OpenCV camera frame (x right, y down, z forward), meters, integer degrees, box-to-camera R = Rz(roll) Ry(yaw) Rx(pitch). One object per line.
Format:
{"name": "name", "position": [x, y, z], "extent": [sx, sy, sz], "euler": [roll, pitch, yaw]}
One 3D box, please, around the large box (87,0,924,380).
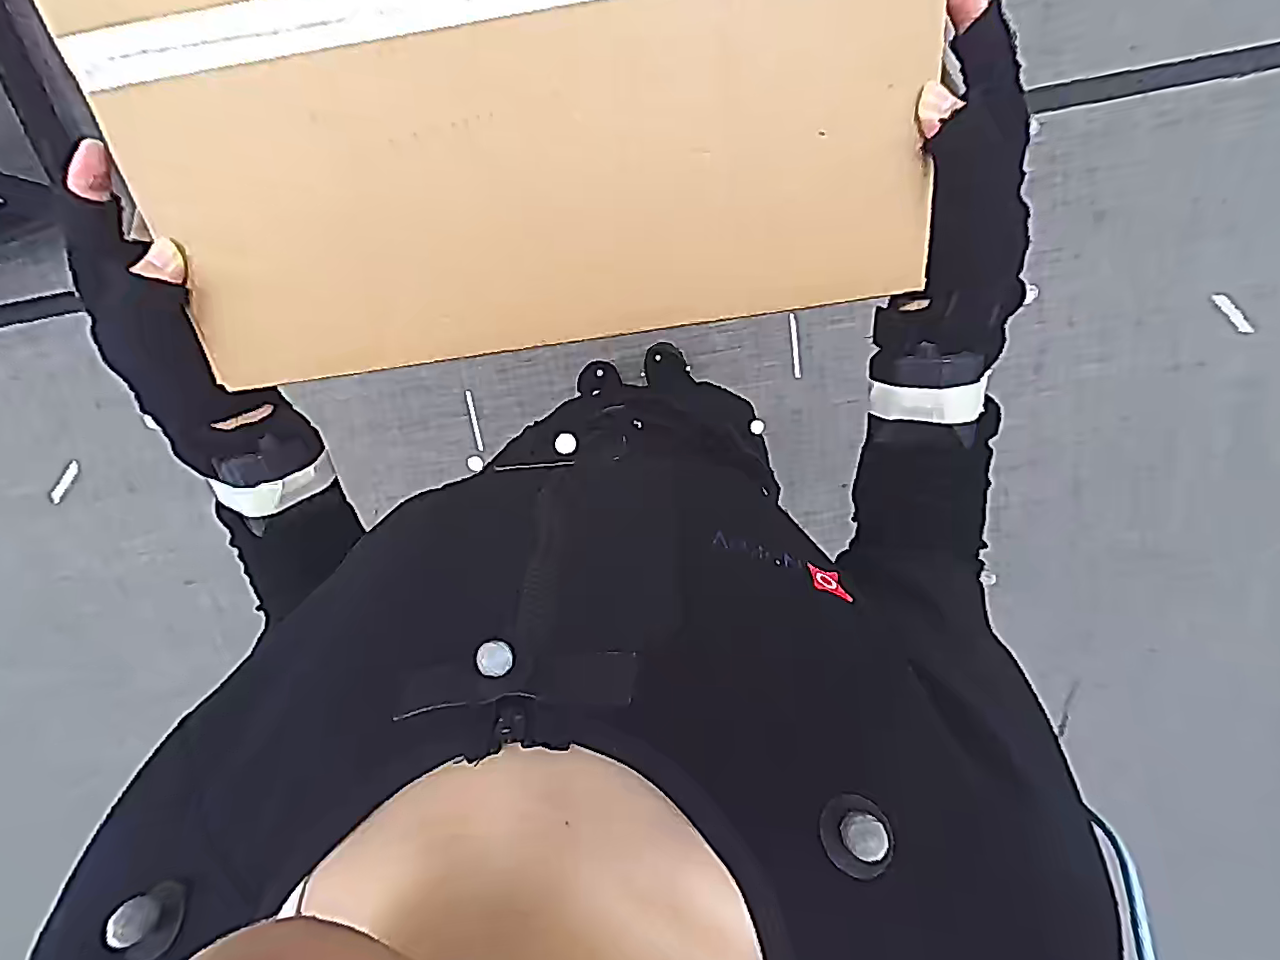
{"name": "large box", "position": [-0.066, -0.285, 0.396], "extent": [0.408, 0.320, 0.320], "euler": [-8, 114, 2]}
